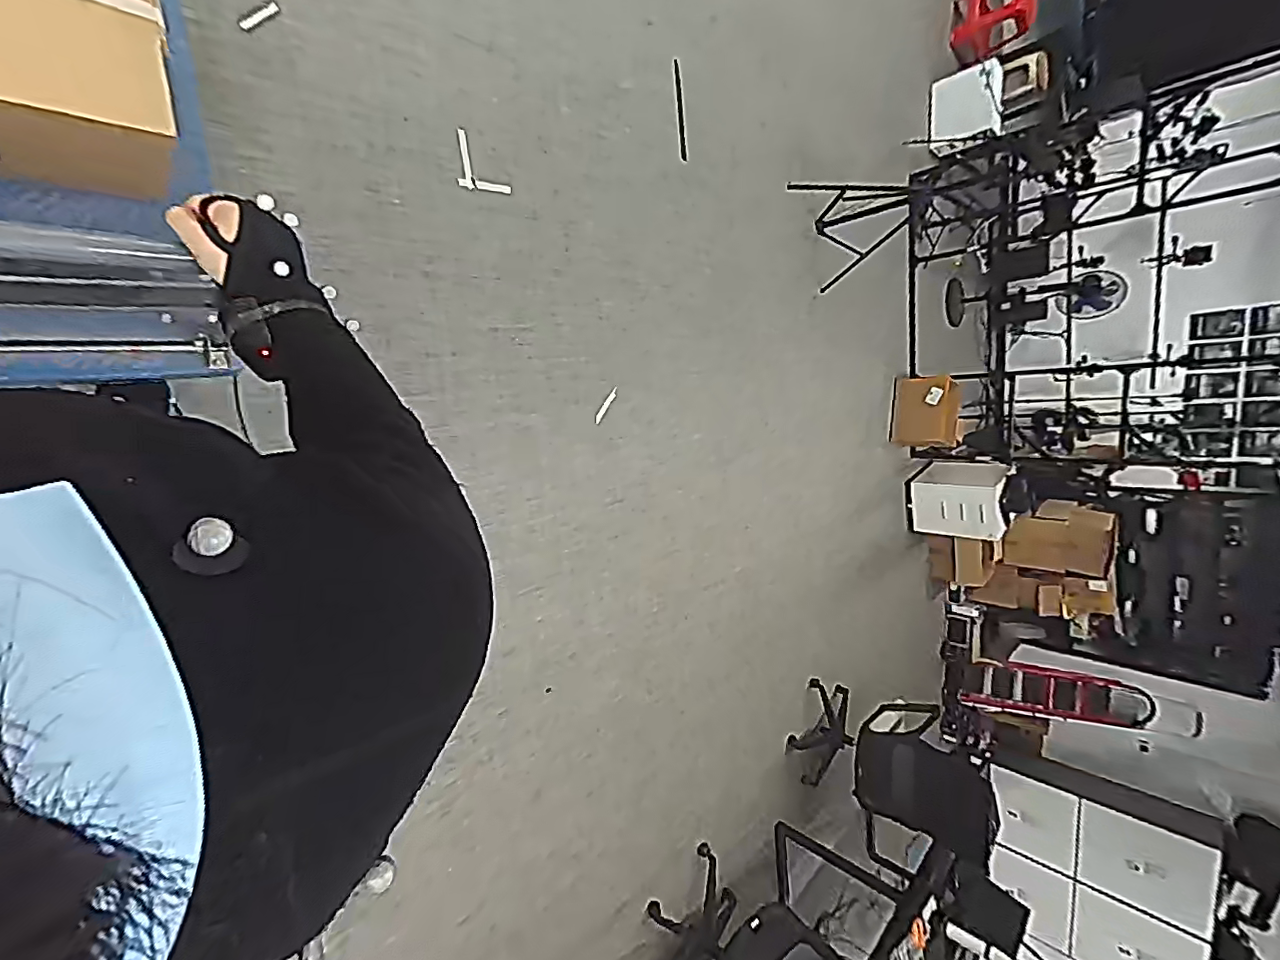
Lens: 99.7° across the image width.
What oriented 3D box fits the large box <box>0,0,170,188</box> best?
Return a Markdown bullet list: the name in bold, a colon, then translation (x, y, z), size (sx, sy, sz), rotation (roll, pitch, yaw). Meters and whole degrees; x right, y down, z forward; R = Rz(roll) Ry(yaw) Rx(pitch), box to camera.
- **large box**: translation (-0.937, -0.638, 0.735), size (0.408, 0.320, 0.320), rotation (-12, 101, -42)
